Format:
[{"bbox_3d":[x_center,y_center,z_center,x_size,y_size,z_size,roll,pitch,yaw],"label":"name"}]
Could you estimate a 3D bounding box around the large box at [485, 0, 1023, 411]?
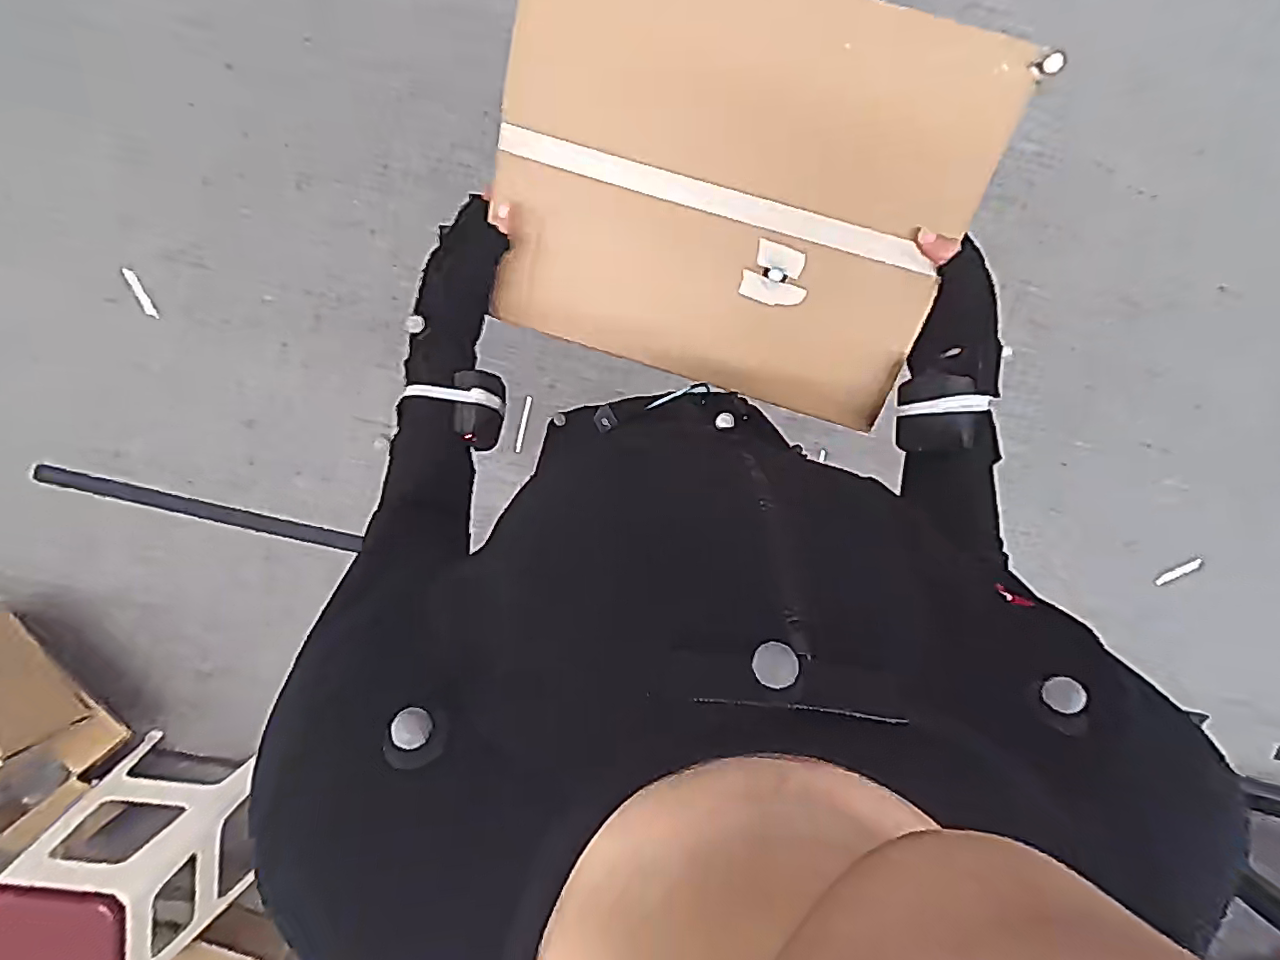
[{"bbox_3d":[0.087,-0.312,0.615,0.408,0.320,0.320,17,115,1],"label":"large box"}]
